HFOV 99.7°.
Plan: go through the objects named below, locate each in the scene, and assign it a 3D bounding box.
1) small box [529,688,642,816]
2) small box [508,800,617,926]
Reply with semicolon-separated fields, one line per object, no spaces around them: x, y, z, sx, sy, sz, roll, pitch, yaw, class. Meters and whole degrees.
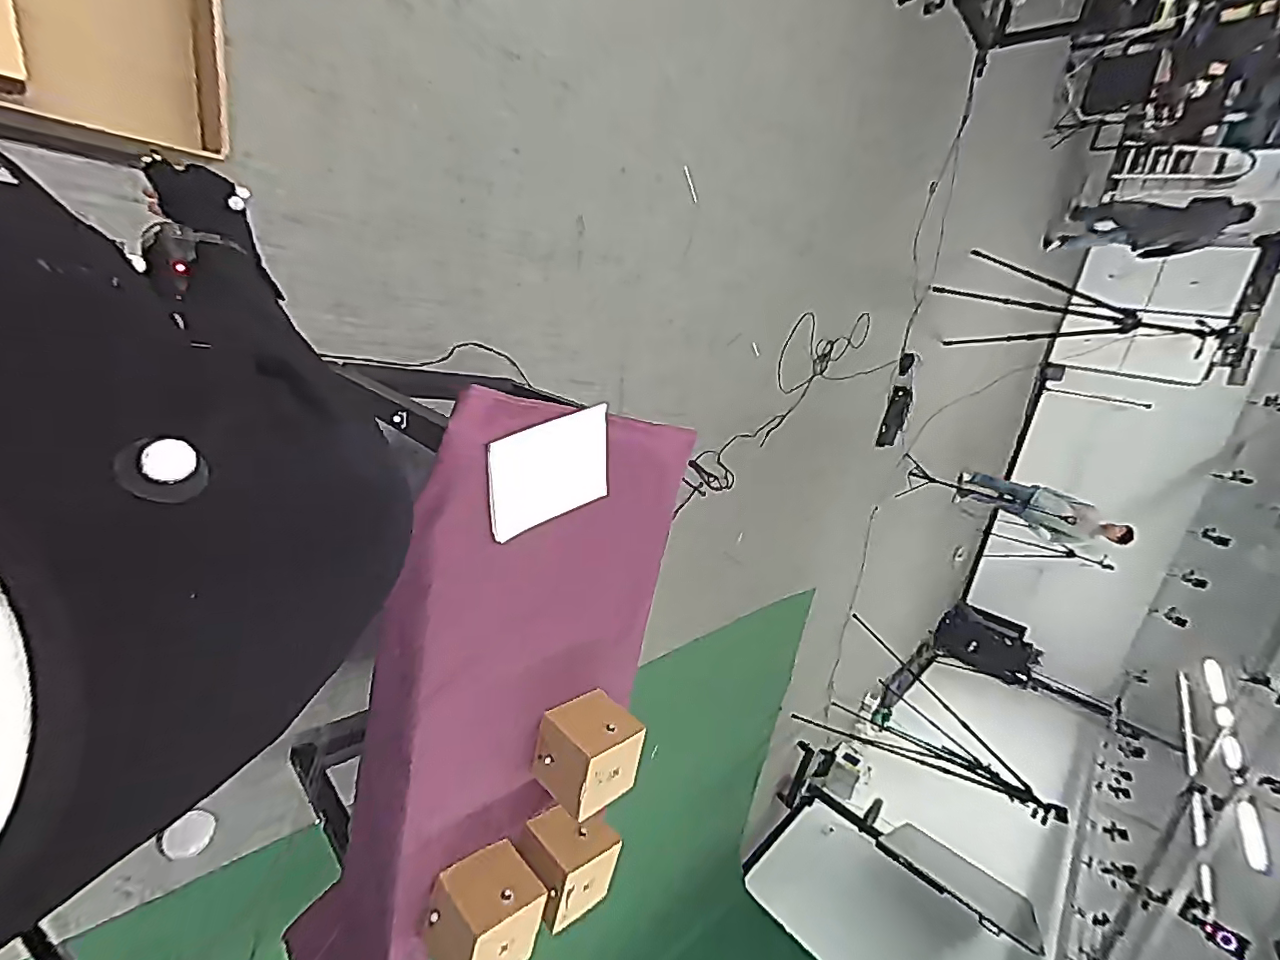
-0.127;0.611;1.244;0.179;0.176;0.168;-3;110;-47;small box
-0.190;0.908;1.319;0.179;0.176;0.168;3;105;-50;small box
